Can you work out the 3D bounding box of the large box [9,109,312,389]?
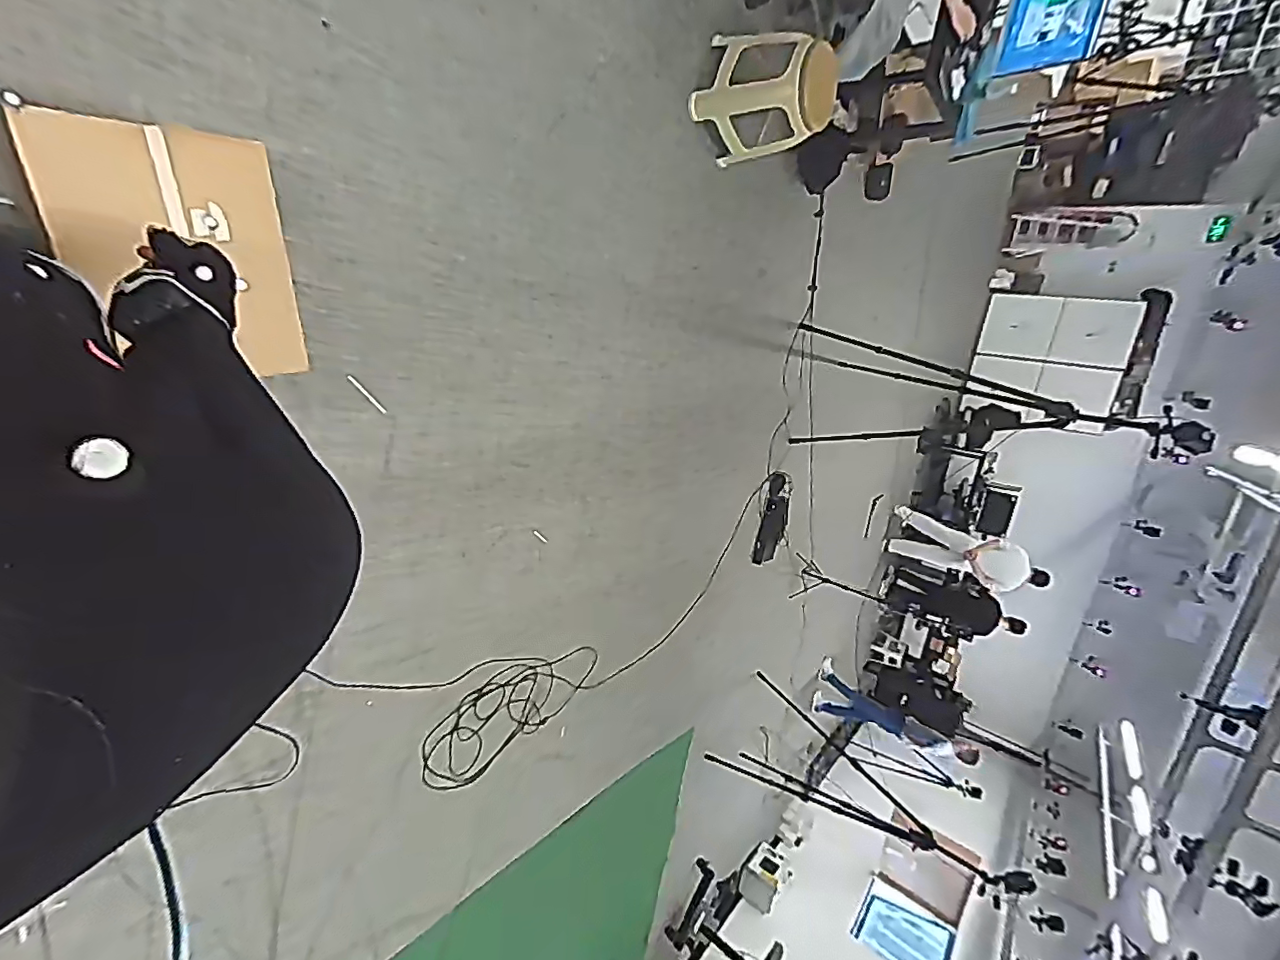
[{"bbox_3d":[-0.885,-0.414,1.022,0.320,0.320,0.408,-23,122,-45],"label":"large box"}]
